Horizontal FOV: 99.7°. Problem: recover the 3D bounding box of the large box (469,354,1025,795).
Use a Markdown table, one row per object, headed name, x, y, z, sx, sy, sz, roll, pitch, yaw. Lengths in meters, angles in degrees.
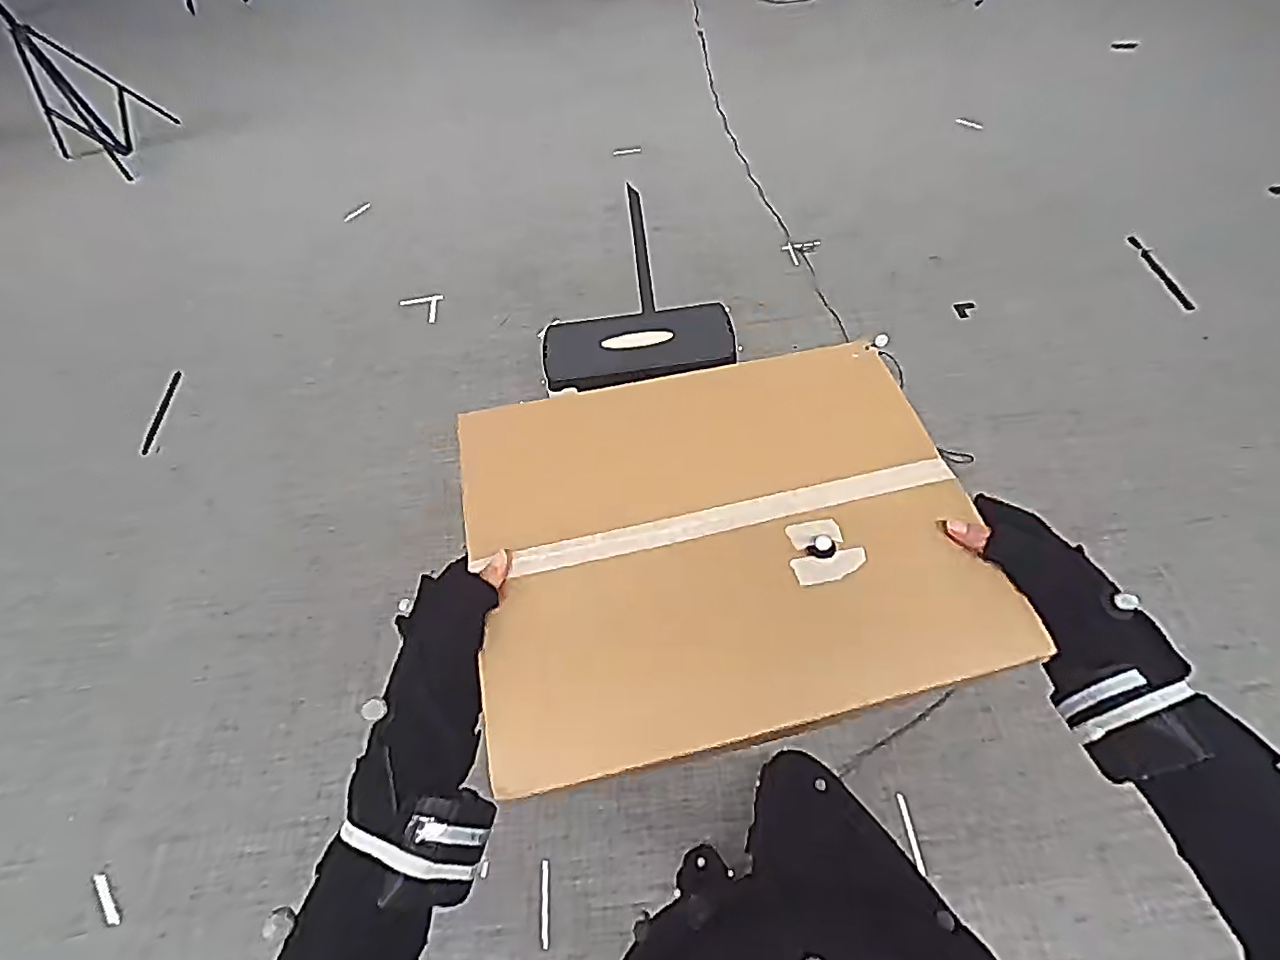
| name | x | y | z | sx | sy | sz | roll | pitch | yaw |
| --- | --- | --- | --- | --- | --- | --- | --- | --- | --- |
| large box | 0.066 | 0.114 | 0.585 | 0.408 | 0.320 | 0.320 | -12 | 60 | -7 |
